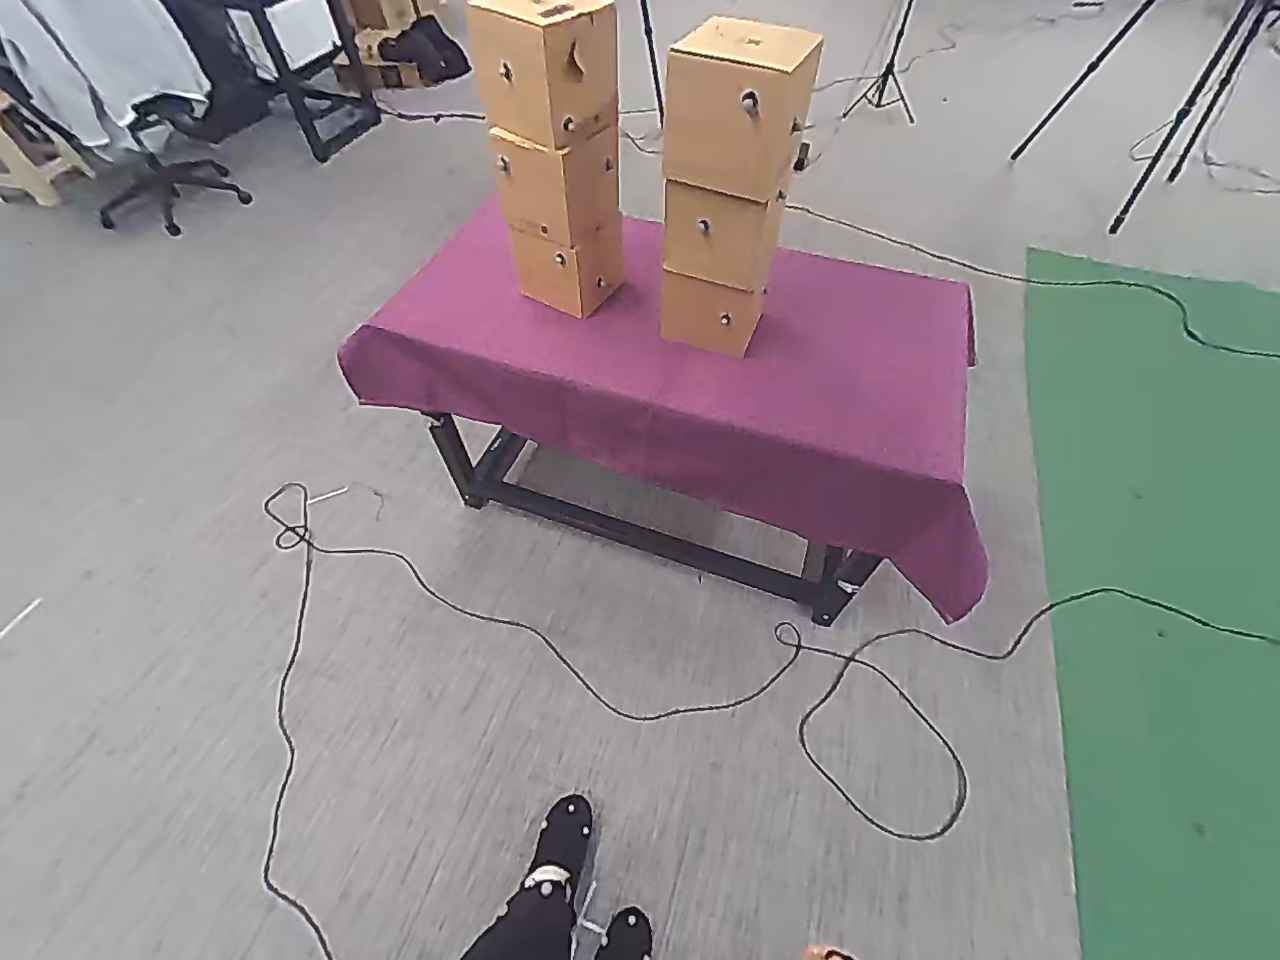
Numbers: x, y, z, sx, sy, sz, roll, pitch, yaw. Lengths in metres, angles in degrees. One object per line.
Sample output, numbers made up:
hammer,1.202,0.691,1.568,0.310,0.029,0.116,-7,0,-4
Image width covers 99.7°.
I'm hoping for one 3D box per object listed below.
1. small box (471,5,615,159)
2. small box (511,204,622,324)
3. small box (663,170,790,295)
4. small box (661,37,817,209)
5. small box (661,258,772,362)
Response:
small box,-0.157,-0.684,0.936,0.179,0.176,0.168,33,59,22
small box,-0.154,-0.472,1.189,0.179,0.176,0.168,27,57,17
small box,0.149,-0.460,0.977,0.179,0.176,0.168,20,56,14
small box,0.146,-0.547,0.836,0.179,0.176,0.168,23,55,15
small box,0.153,-0.367,1.112,0.179,0.176,0.168,18,54,13
